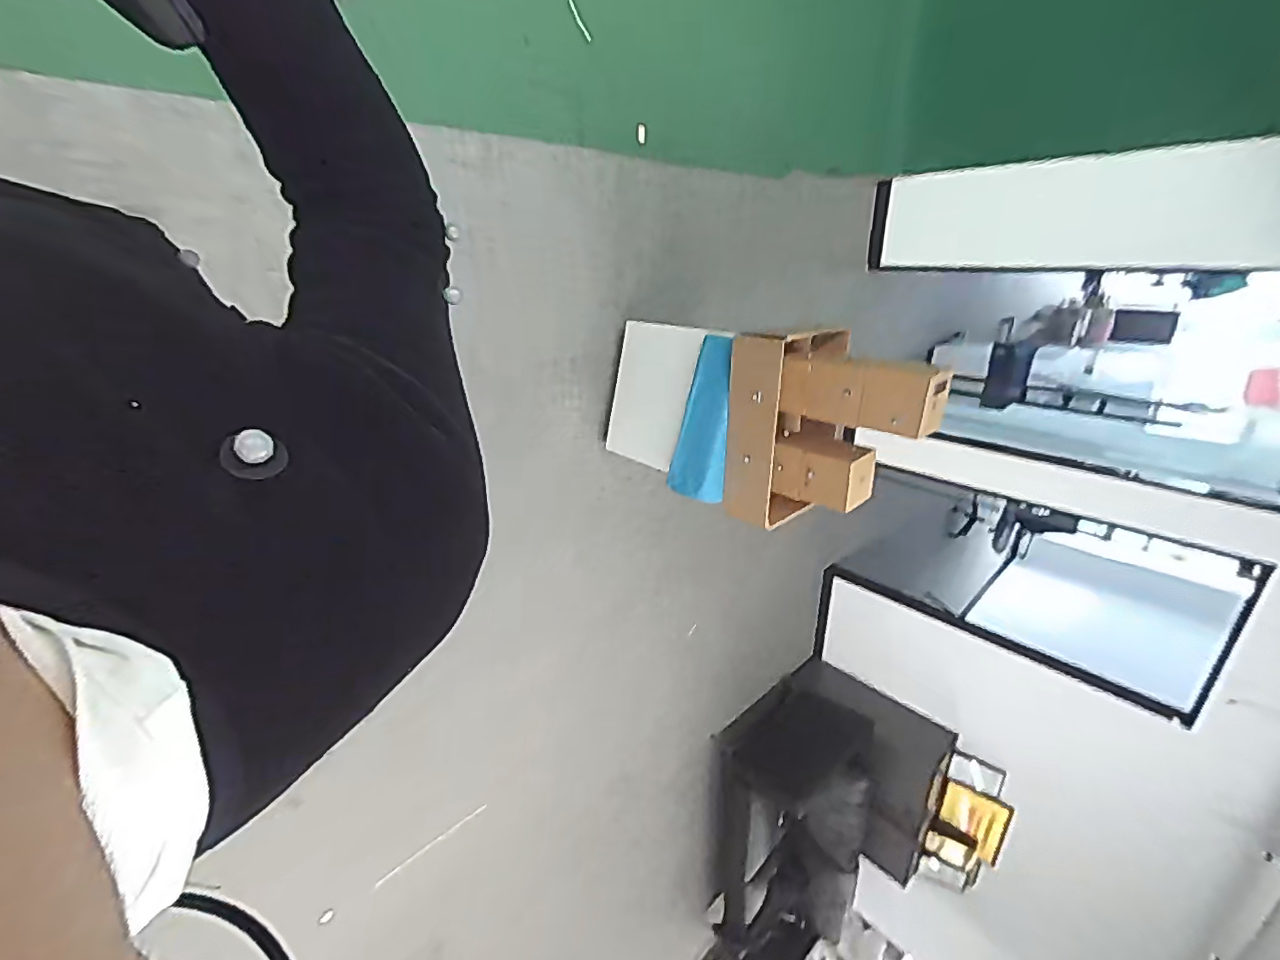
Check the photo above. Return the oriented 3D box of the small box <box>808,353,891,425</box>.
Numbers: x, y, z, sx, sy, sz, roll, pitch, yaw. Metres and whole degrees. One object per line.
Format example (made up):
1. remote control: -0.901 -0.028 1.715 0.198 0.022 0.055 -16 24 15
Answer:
1. small box: 0.620 -0.279 1.611 0.168 0.176 0.179 -22 122 -39

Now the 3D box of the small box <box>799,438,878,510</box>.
1. small box: 0.630 -0.027 1.726 0.179 0.176 0.168 -22 119 -39
